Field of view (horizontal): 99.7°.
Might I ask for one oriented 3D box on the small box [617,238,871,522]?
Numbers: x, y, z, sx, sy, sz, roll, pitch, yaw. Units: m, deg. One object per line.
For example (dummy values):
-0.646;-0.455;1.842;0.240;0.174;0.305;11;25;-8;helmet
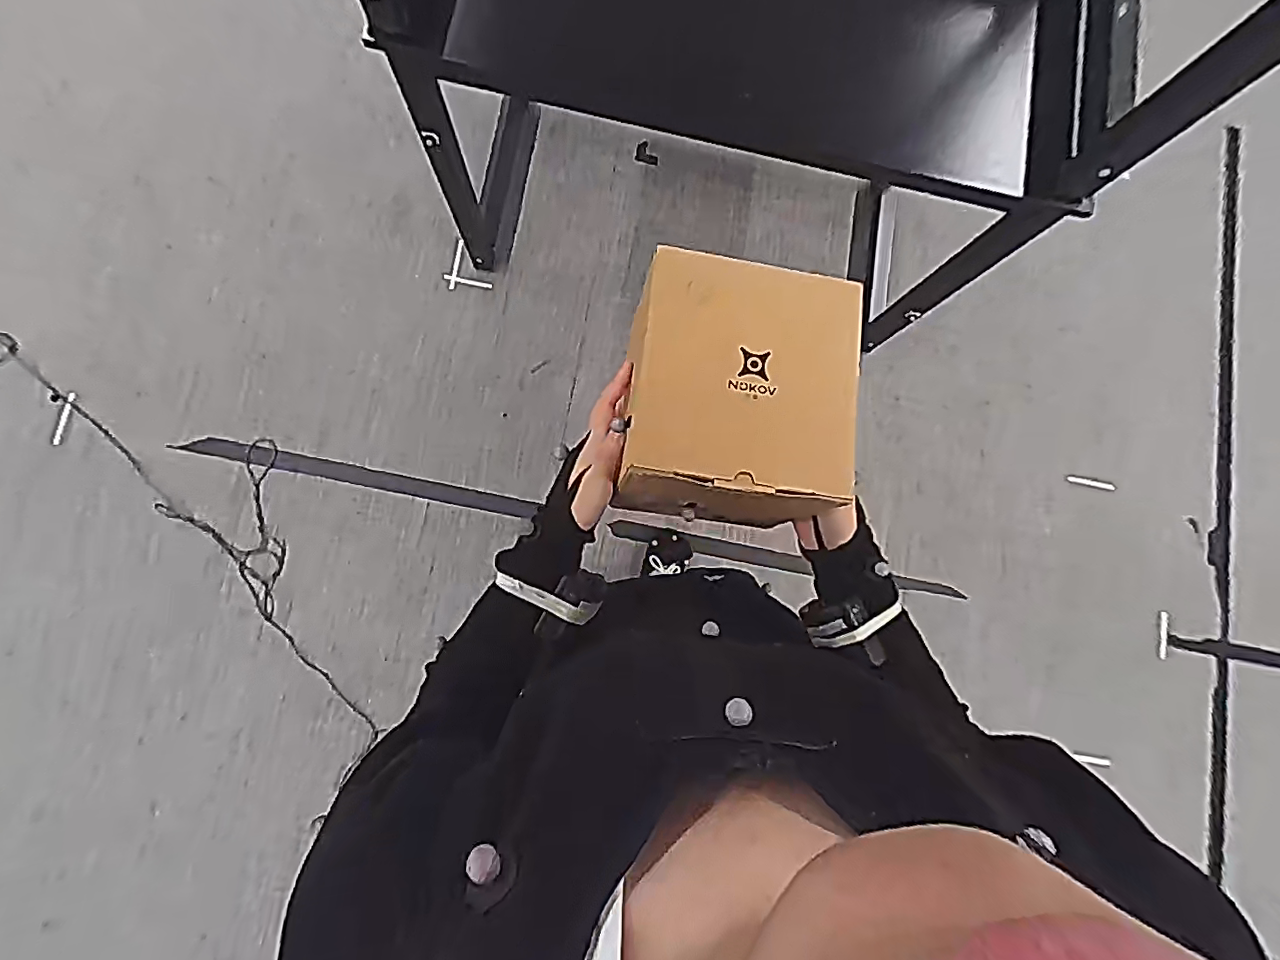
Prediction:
0.075;-0.067;0.464;0.168;0.176;0.179;8;79;-6;small box
